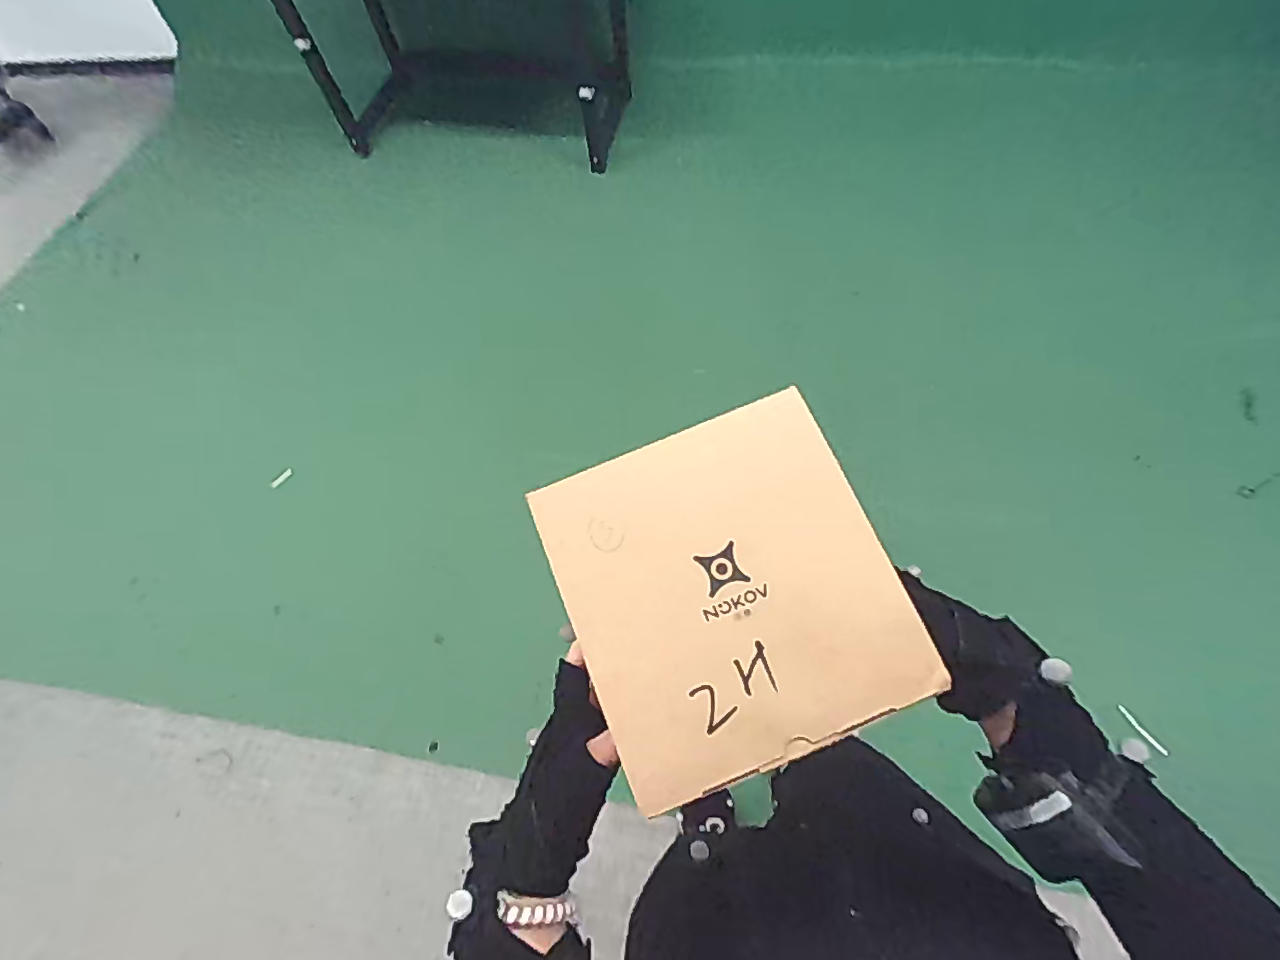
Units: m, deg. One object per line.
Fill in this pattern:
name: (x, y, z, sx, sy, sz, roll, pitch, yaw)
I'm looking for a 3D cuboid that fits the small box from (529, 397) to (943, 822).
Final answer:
small box: (0.047, 0.078, 0.359, 0.168, 0.176, 0.179, -23, 76, -2)
